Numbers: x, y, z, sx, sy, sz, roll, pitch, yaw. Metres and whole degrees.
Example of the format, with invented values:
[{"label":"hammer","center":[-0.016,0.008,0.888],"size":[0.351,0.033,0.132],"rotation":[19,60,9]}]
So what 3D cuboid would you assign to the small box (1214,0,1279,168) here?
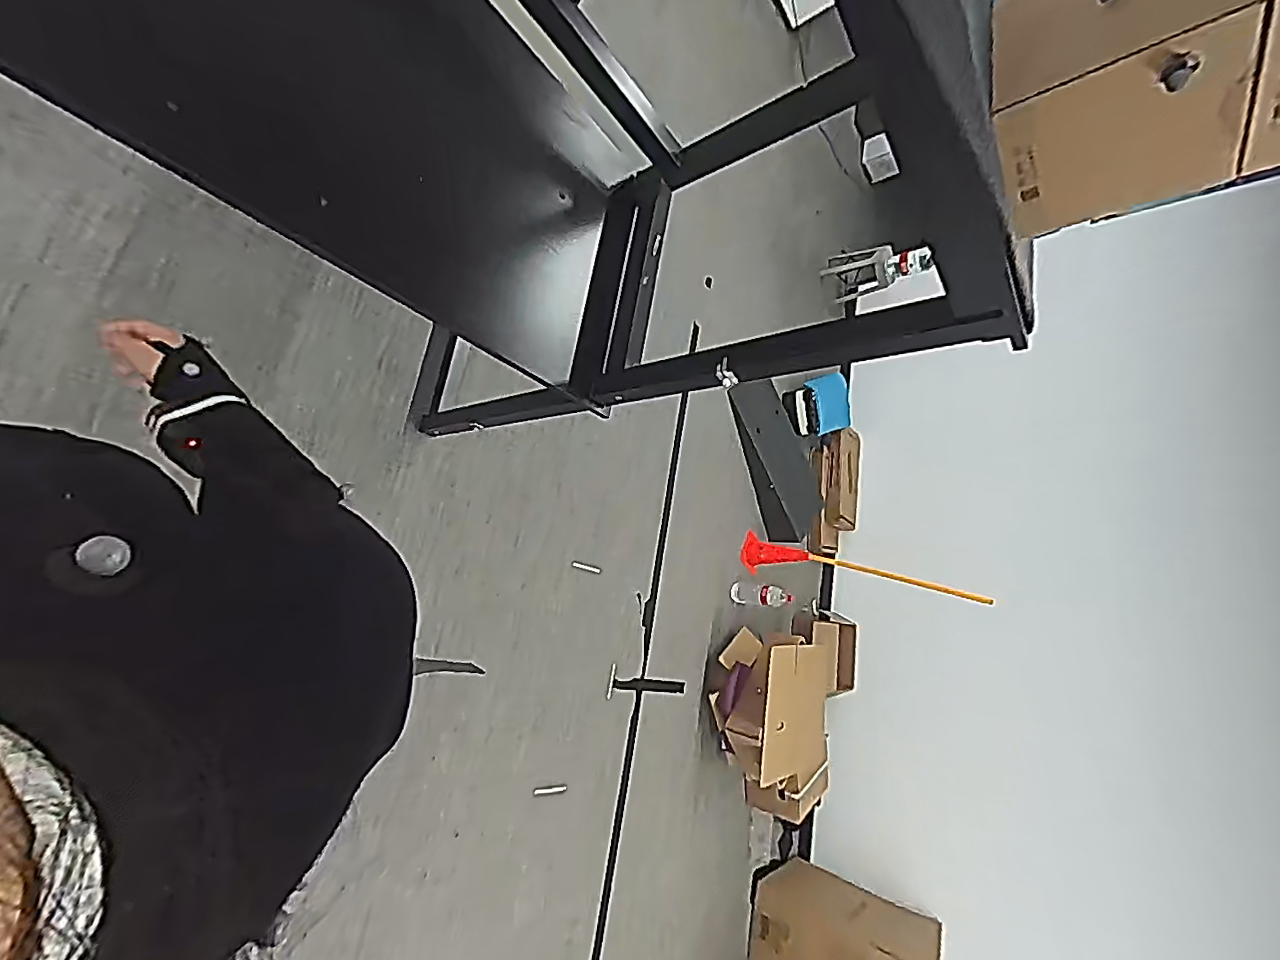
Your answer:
[{"label":"small box","center":[0.561,-0.385,0.403],"size":[0.168,0.176,0.179],"rotation":[31,65,-44]}]
